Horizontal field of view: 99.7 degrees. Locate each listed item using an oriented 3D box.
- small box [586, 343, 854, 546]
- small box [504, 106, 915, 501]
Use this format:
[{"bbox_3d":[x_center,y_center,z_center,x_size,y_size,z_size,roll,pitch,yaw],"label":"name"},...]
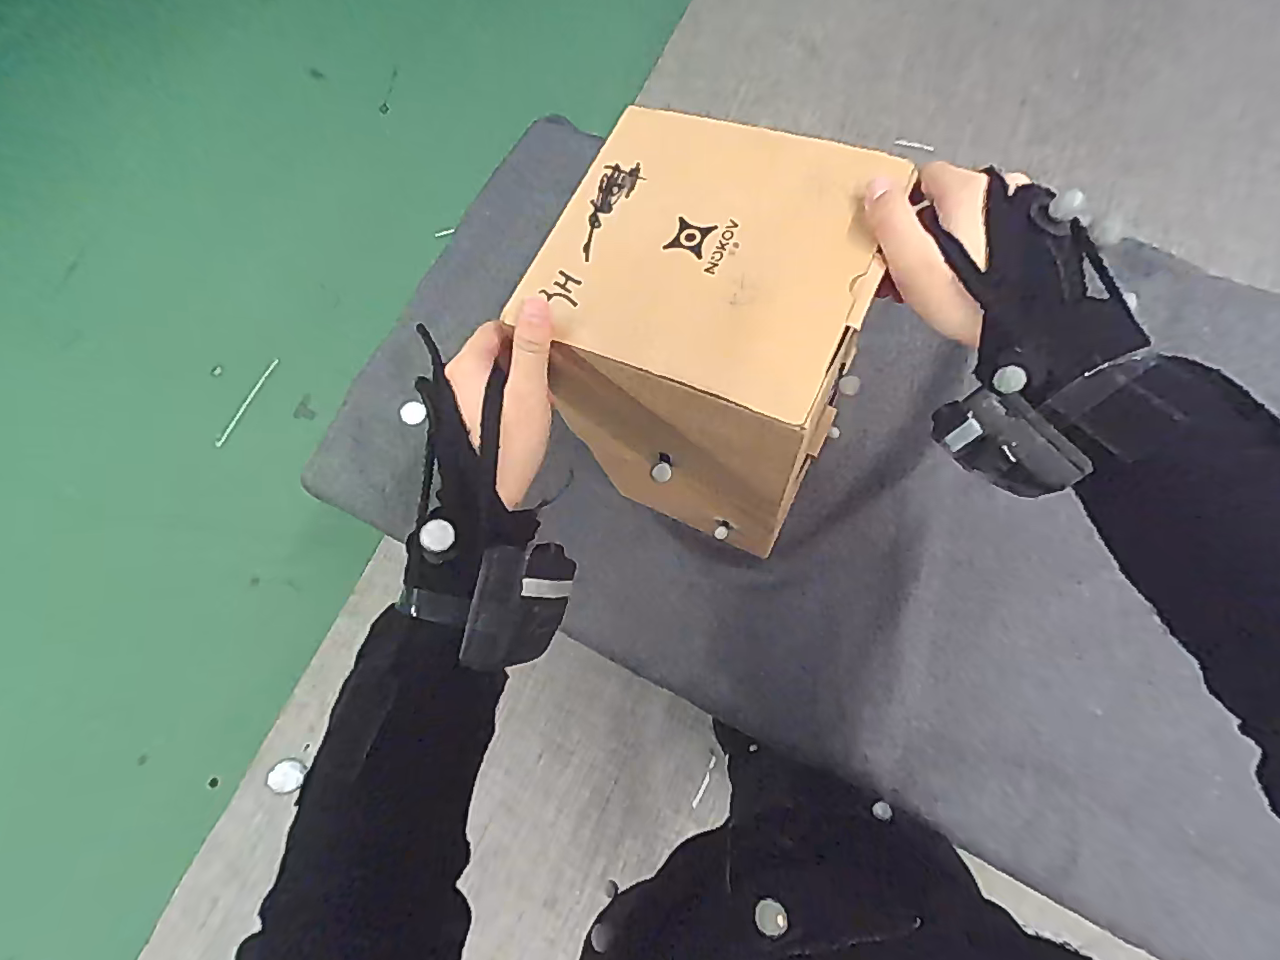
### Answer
[{"bbox_3d":[0.077,-0.049,0.522,0.179,0.176,0.168,23,76,17],"label":"small box"},{"bbox_3d":[0.047,-0.101,0.369,0.179,0.176,0.168,24,75,15],"label":"small box"}]
